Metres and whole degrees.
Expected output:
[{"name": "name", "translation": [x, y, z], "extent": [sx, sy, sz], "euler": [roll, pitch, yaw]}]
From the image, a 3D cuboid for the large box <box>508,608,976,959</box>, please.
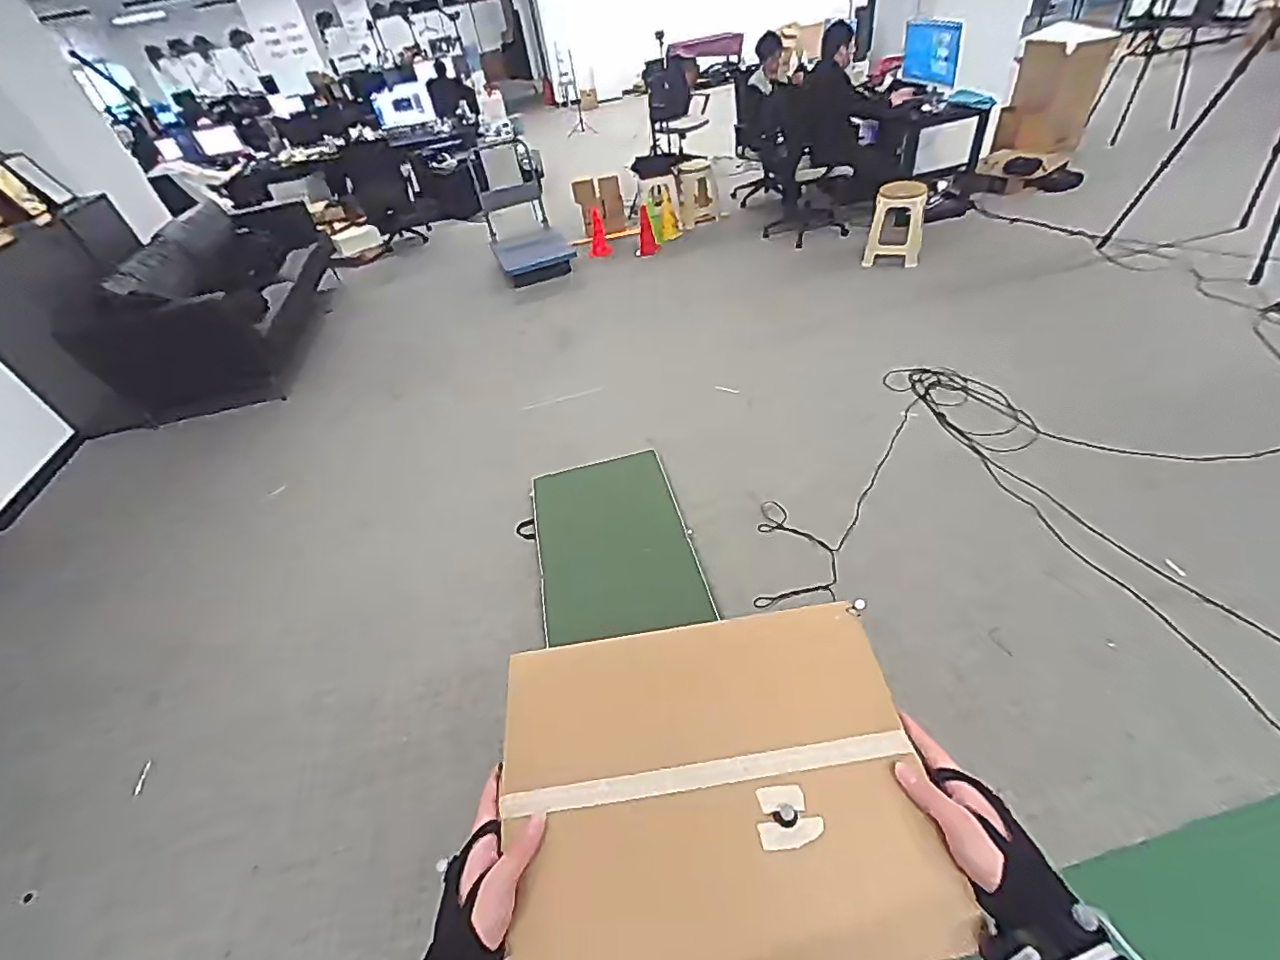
[{"name": "large box", "translation": [0.081, 0.396, 0.652], "extent": [0.408, 0.320, 0.320], "euler": [-10, 50, 0]}]
